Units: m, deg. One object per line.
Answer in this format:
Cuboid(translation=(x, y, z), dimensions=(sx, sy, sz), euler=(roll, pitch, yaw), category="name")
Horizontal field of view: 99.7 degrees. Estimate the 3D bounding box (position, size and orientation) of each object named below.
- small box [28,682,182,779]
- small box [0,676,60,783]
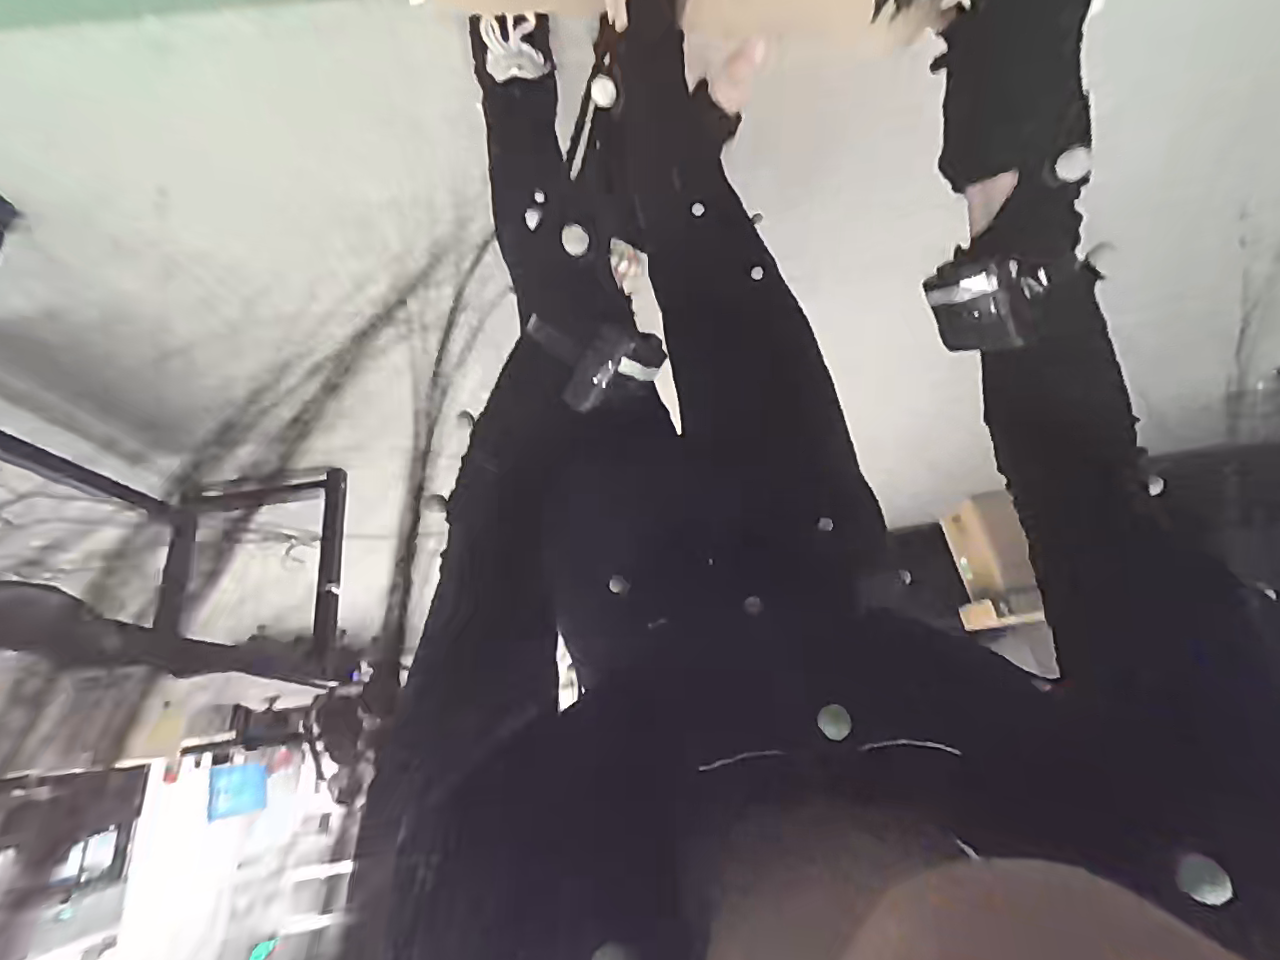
Cuboid(translation=(-1.187, 0.560, 1.214), dimensions=(0.179, 0.176, 0.168), euler=(-8, 156, -4), category="small box")
Cuboid(translation=(-1.190, 0.442, 0.940), dimensions=(0.179, 0.176, 0.168), euler=(-8, 157, -4), category="small box")
